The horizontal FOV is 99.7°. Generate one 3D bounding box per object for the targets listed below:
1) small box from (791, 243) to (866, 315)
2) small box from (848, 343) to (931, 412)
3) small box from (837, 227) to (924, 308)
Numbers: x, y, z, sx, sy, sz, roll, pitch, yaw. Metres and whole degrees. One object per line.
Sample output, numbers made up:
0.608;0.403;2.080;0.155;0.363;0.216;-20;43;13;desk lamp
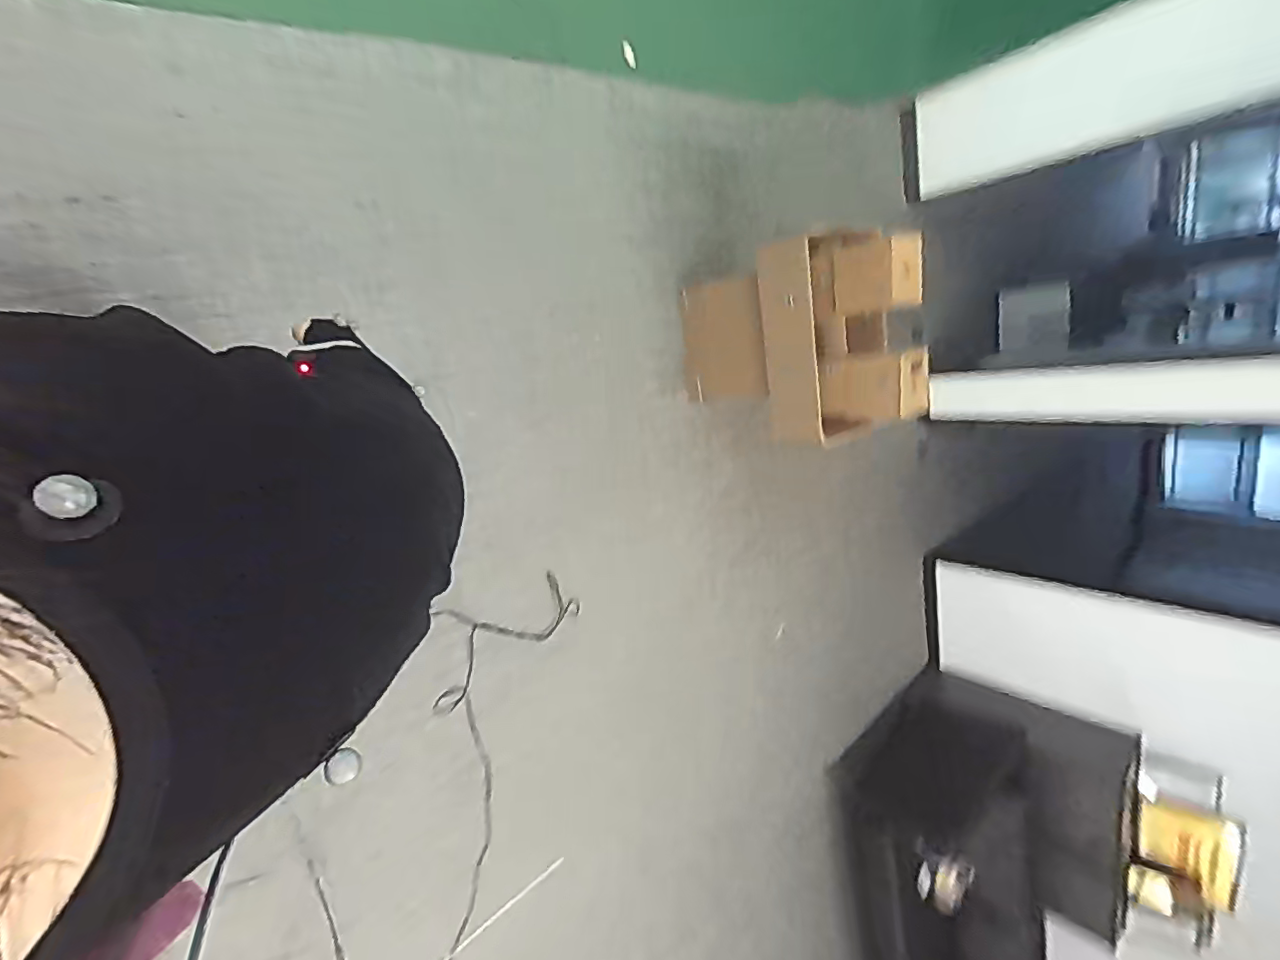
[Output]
0.570;-0.599;1.621;0.168;0.176;0.179;-18;108;-35;small box
0.720;-0.295;1.568;0.168;0.176;0.179;-17;107;-36;small box
0.659;-0.579;1.486;0.168;0.176;0.179;-18;108;-35;small box
